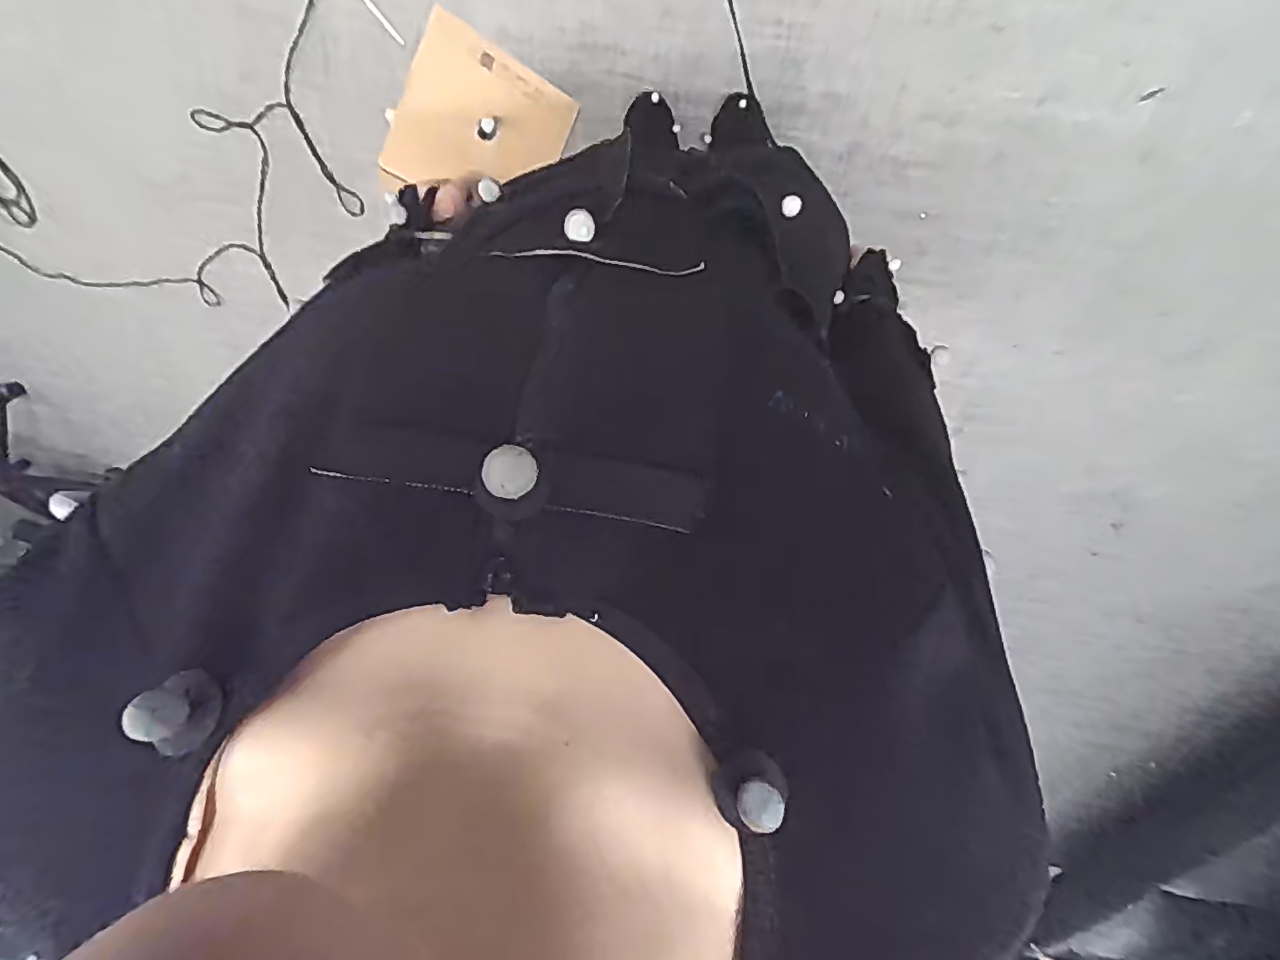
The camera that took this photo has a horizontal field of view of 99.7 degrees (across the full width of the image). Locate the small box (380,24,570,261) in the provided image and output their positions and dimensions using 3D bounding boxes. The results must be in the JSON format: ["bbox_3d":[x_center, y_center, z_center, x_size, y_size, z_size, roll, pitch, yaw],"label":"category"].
[{"bbox_3d":[-0.202,-0.390,0.656,0.168,0.179,0.176,20,98,-29],"label":"small box"}]
